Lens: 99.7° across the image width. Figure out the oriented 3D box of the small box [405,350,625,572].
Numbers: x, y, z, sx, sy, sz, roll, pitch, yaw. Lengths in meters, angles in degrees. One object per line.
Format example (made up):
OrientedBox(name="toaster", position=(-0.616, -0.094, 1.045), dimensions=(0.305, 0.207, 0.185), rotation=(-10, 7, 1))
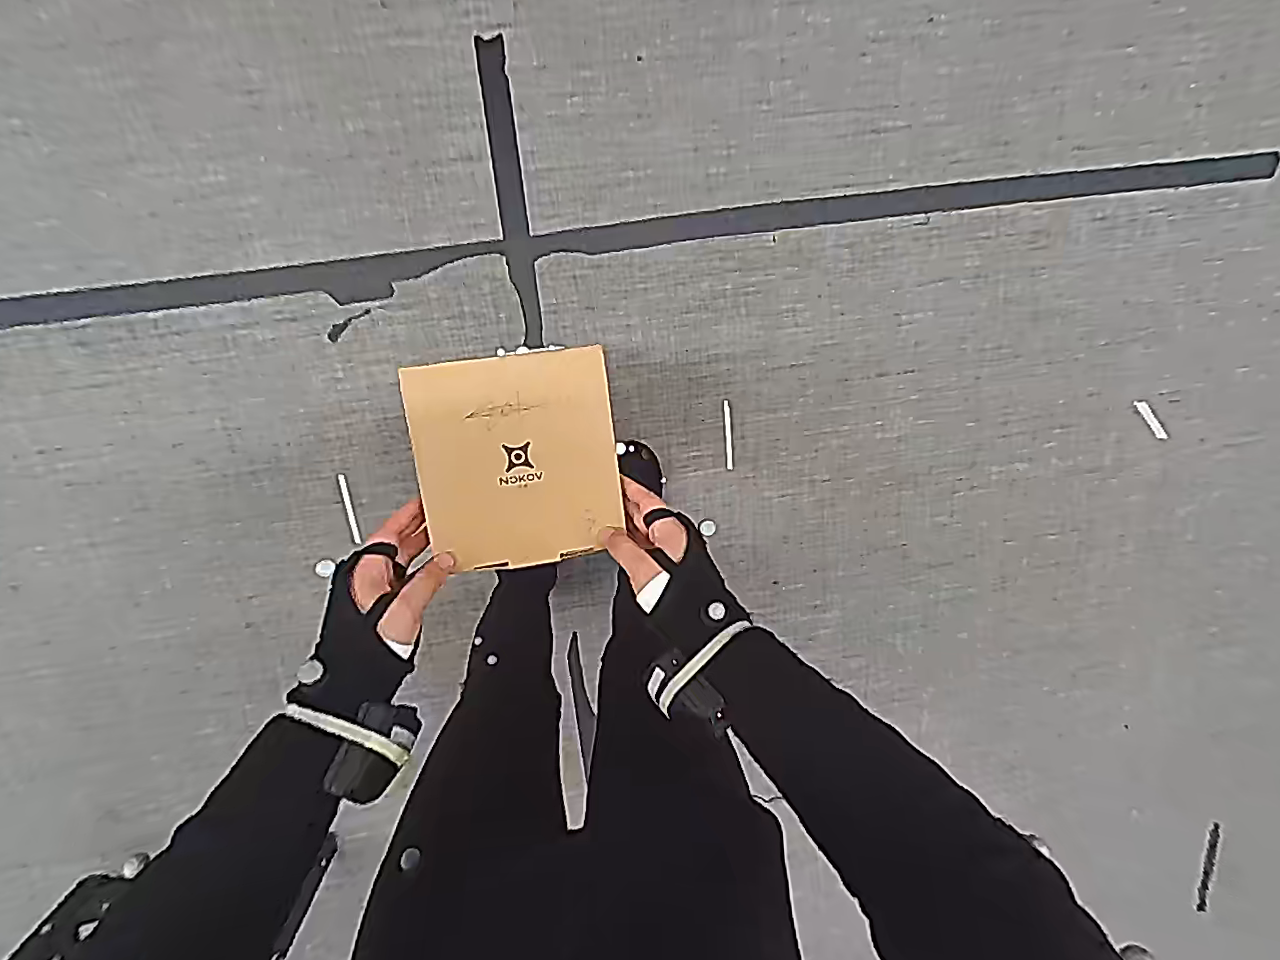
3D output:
OrientedBox(name="small box", position=(-0.113, -0.027, 0.537), dimensions=(0.168, 0.176, 0.179), rotation=(-9, 99, -9))
